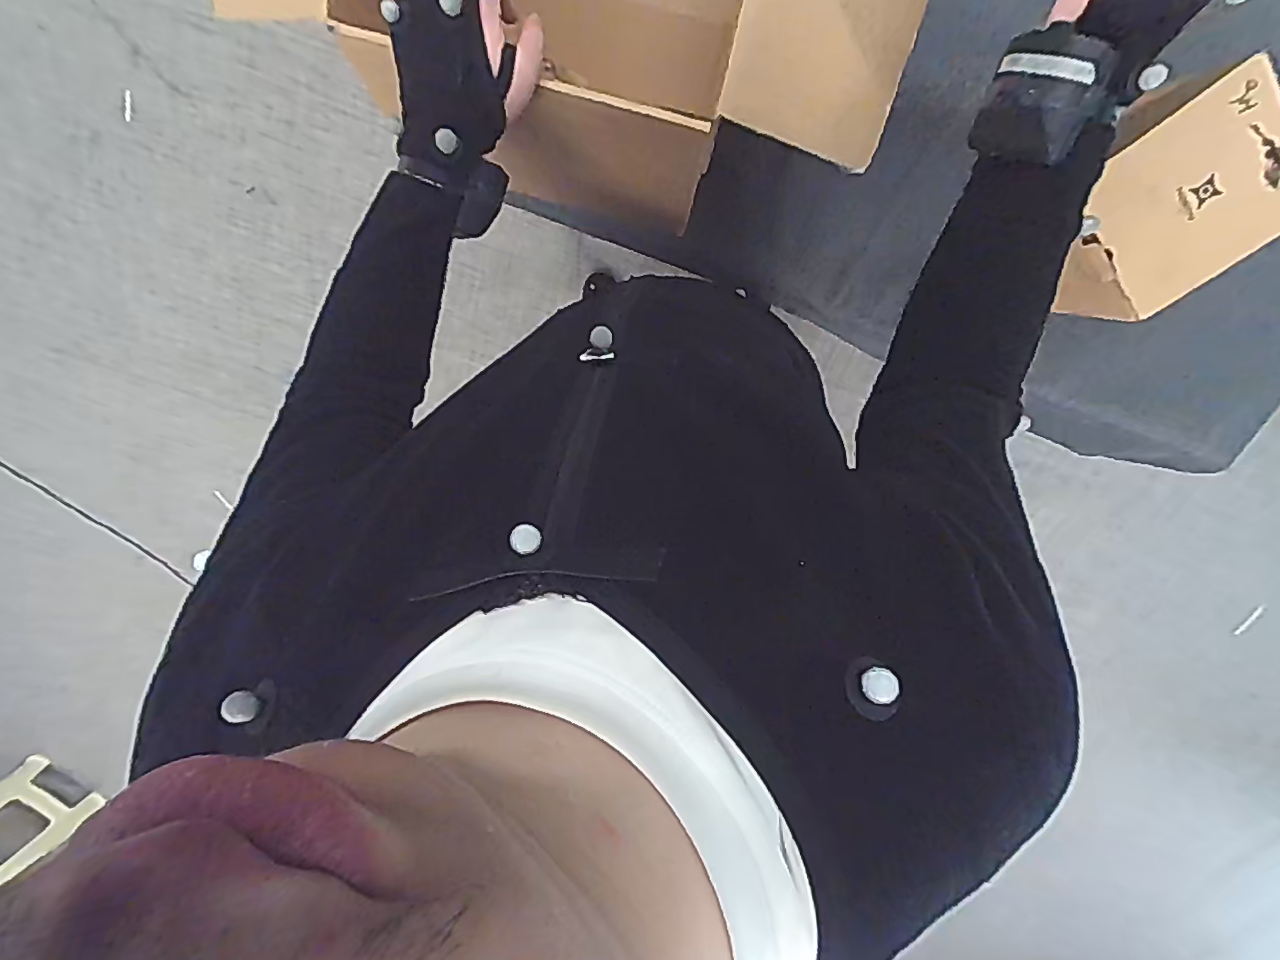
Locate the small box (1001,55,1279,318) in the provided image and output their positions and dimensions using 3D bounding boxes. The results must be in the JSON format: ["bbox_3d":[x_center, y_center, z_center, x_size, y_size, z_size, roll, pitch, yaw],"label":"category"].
[{"bbox_3d":[0.546,-0.305,0.603,0.179,0.176,0.168,-35,105,17],"label":"small box"}]
